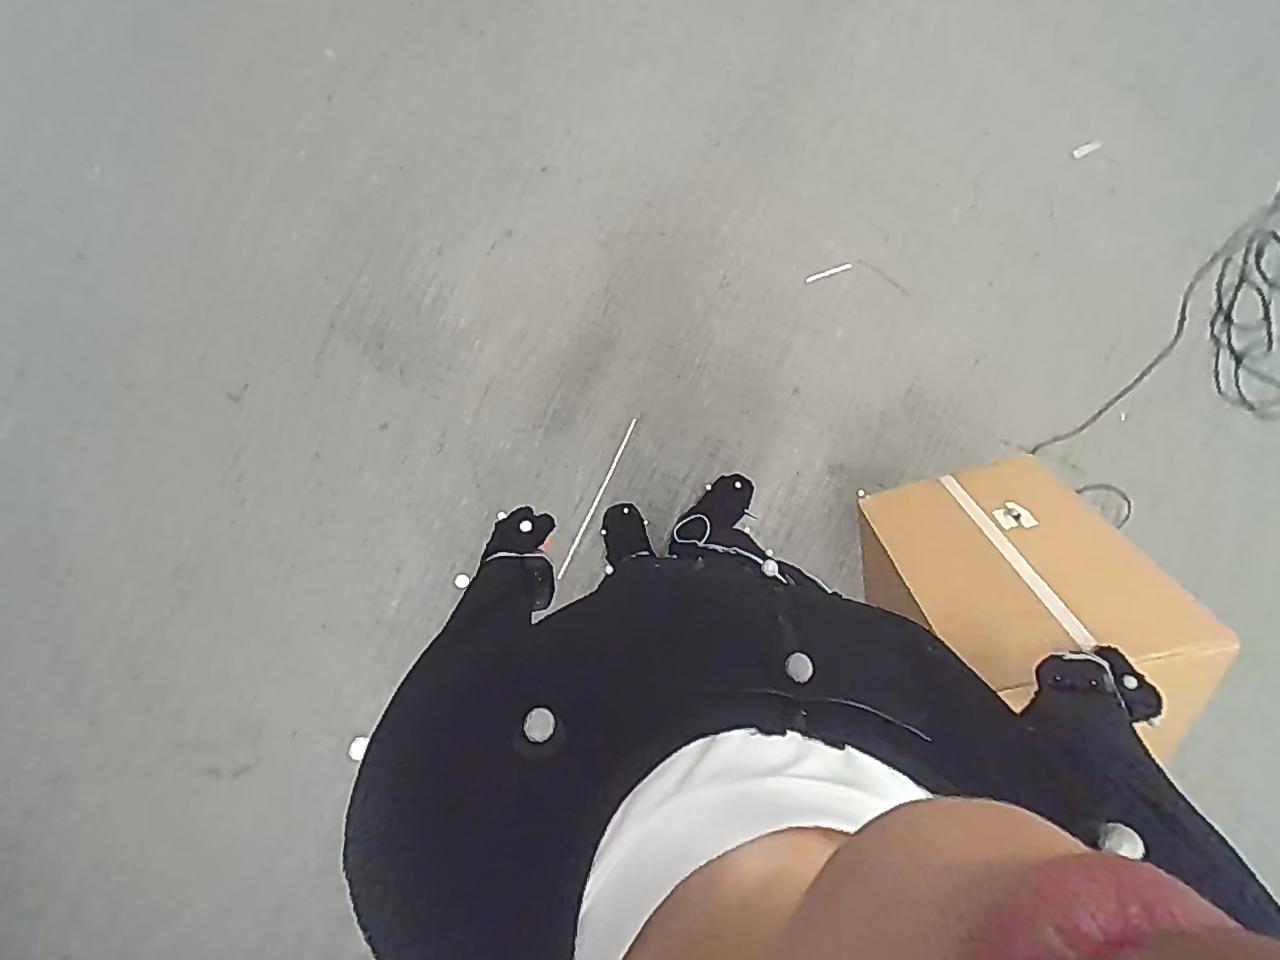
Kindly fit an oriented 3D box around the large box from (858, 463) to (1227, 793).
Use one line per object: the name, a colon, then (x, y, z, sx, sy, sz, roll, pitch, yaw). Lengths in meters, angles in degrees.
large box: (0.606, 0.236, 0.918, 0.320, 0.408, 0.320, -14, 125, 8)
